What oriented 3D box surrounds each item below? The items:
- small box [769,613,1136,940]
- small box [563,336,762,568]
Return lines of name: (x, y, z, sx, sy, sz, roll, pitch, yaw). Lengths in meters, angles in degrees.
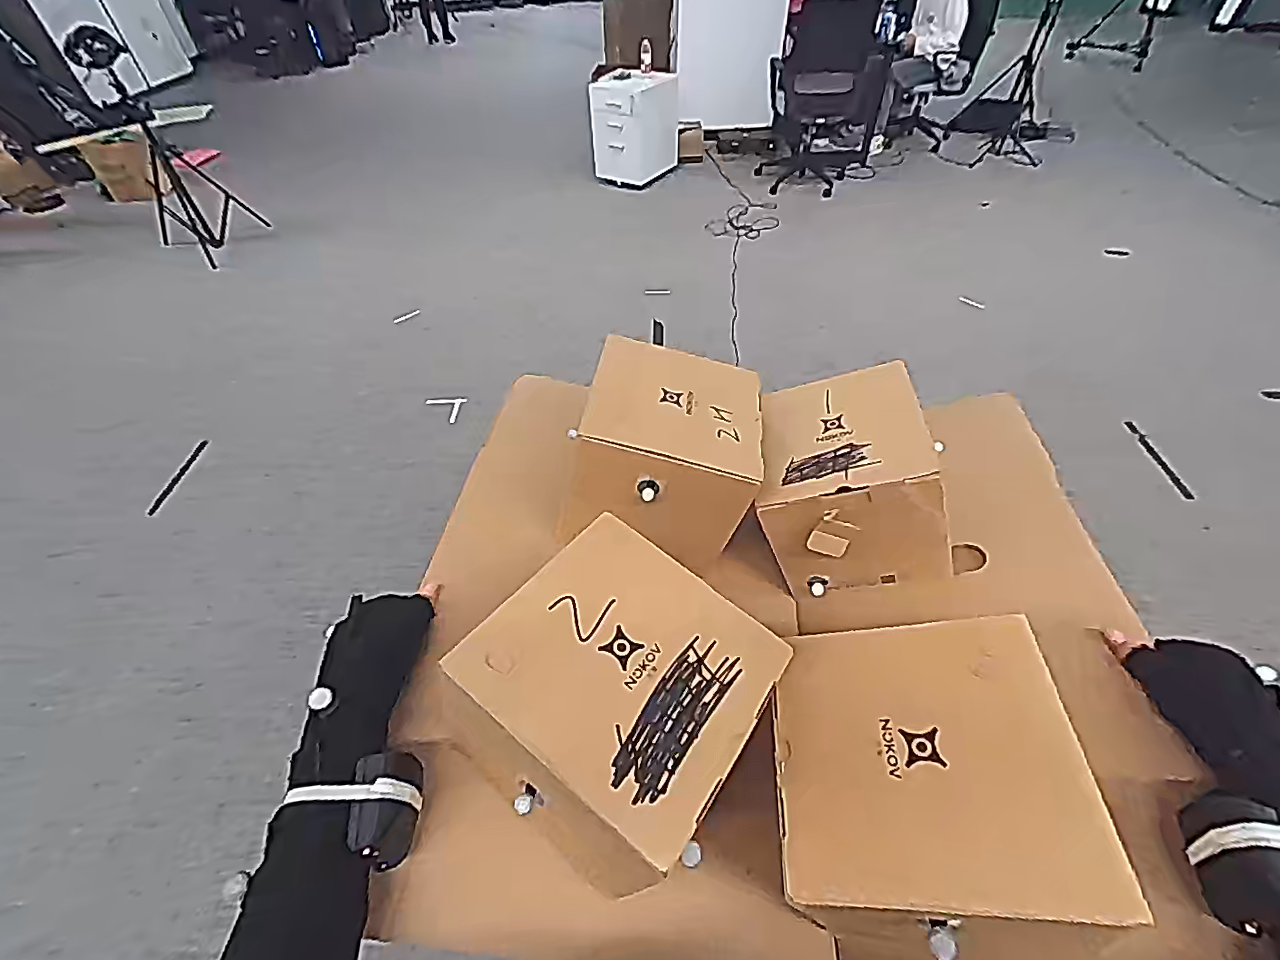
small box: (0.204, 0.218, 0.397, 0.179, 0.176, 0.168, -13, 44, 22)
small box: (0.021, -0.025, 0.595, 0.179, 0.176, 0.168, 15, 48, -4)
